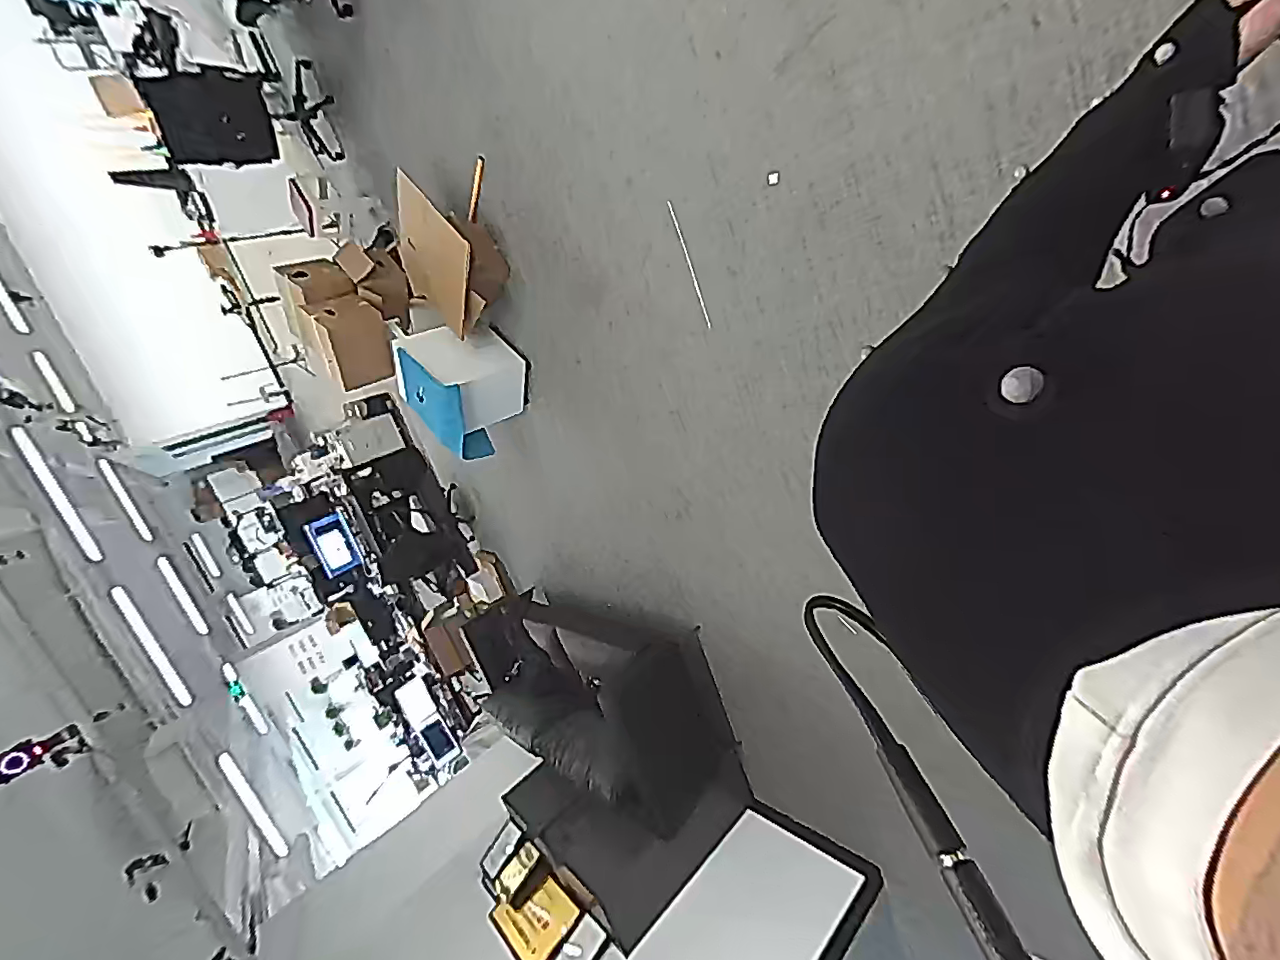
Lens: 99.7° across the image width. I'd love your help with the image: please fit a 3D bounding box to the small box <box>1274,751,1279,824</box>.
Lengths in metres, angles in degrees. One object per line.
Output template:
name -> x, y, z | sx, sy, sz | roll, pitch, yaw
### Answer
small box -> 1.009, 0.517, 0.751 | 0.168, 0.176, 0.179 | 0, 112, 52
